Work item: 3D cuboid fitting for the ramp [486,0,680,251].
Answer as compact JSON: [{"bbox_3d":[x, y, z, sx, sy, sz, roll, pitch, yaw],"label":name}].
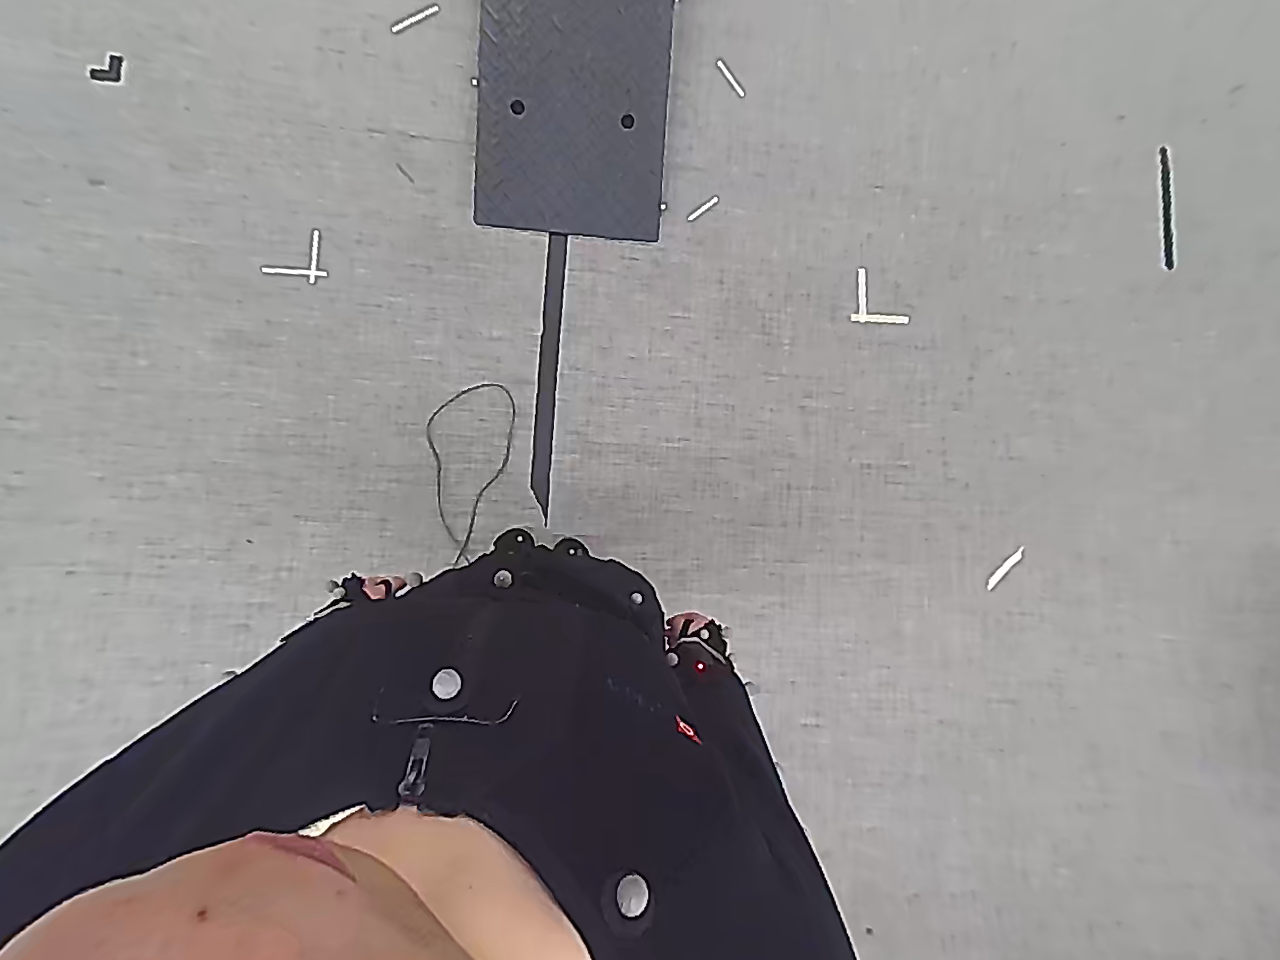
[{"bbox_3d":[-0.142,-1.130,1.410,0.509,0.206,0.991,1,86,-7],"label":"ramp"}]
